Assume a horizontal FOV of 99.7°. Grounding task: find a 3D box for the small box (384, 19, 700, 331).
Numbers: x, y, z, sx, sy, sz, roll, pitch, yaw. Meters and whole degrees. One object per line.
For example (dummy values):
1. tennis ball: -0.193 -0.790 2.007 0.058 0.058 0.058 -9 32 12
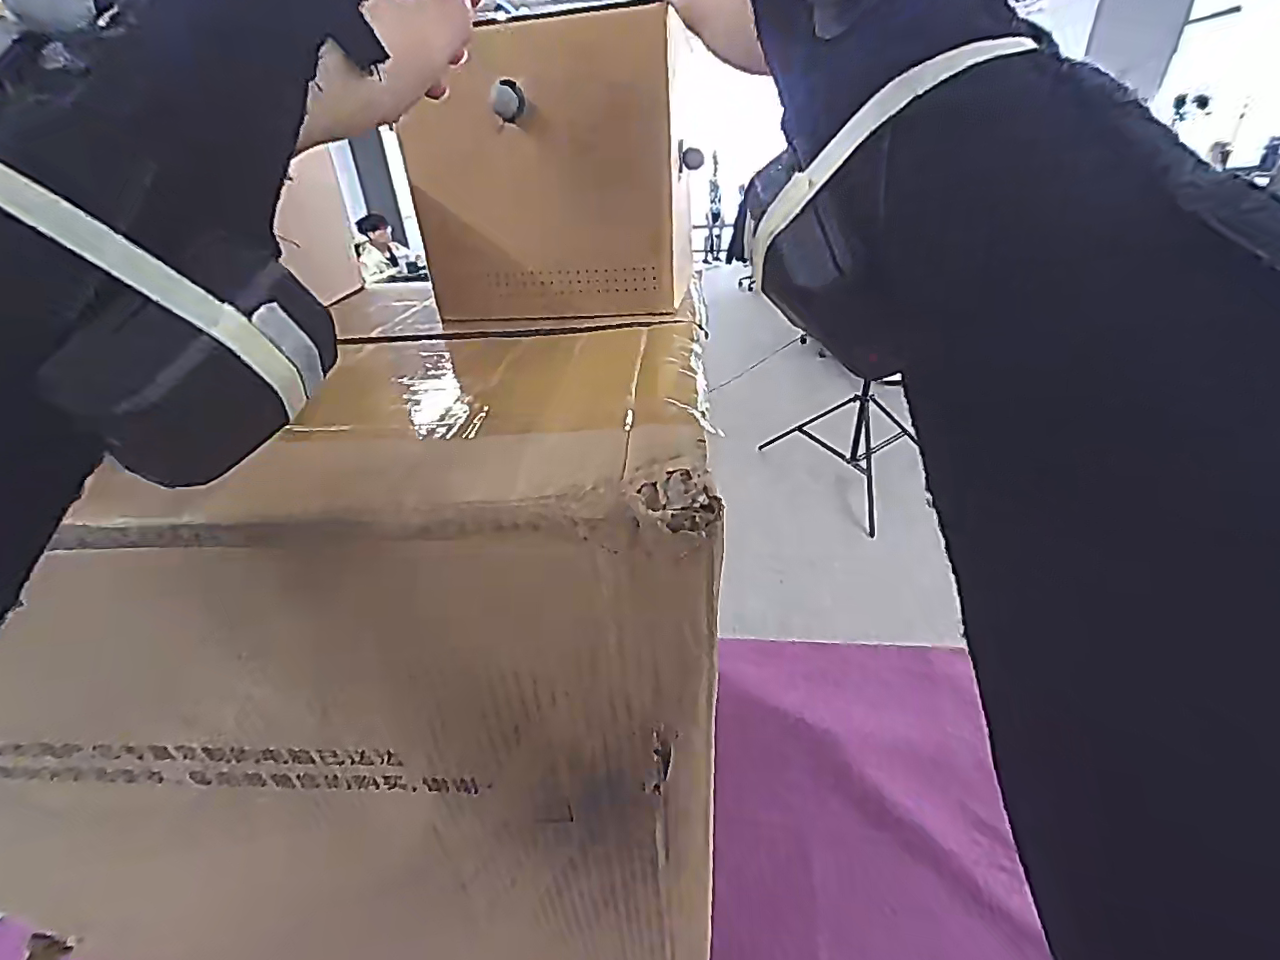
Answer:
1. small box: -0.047 -0.217 0.409 0.179 0.176 0.168 1 31 10
